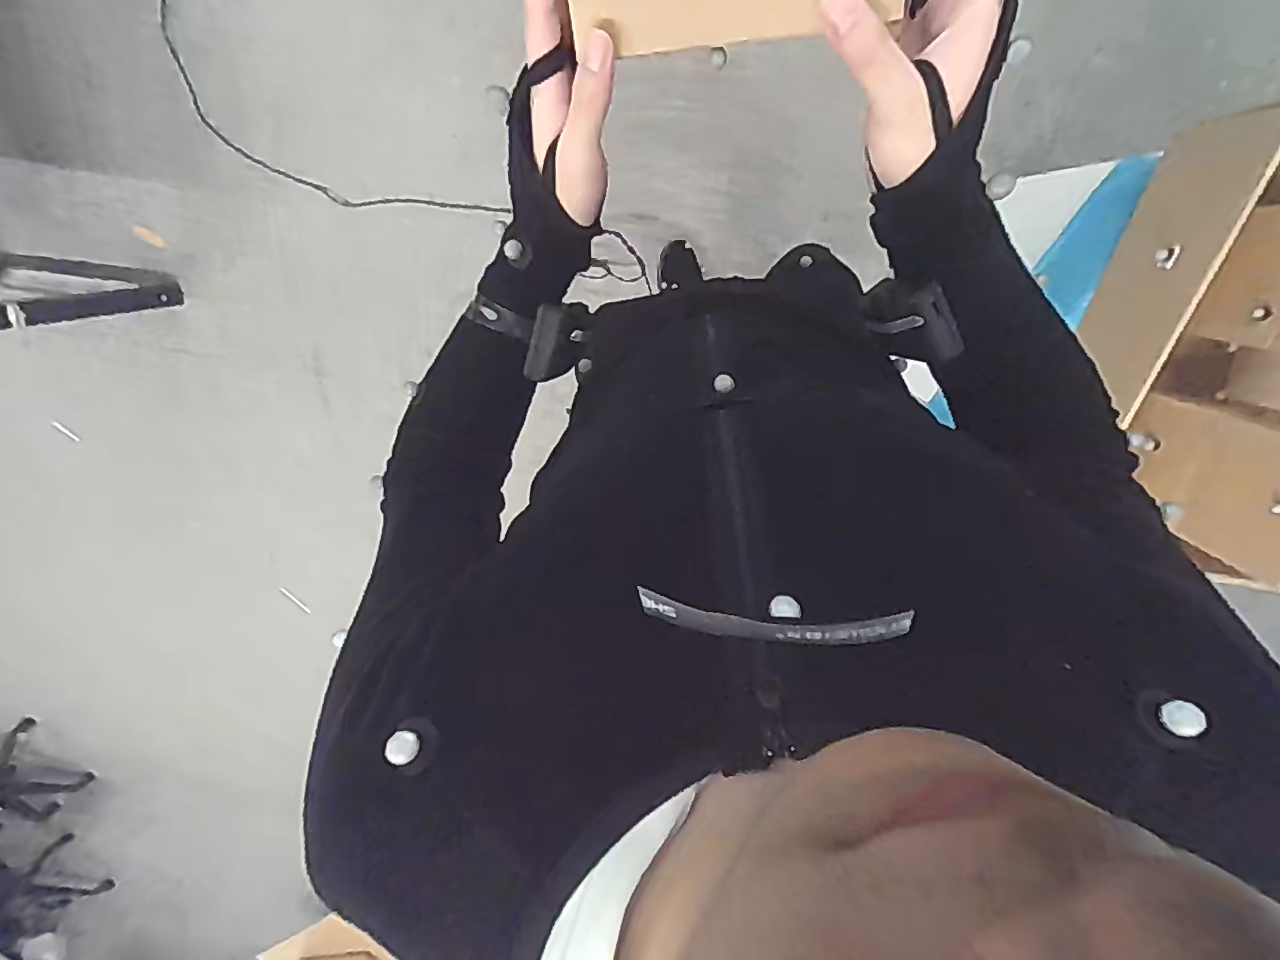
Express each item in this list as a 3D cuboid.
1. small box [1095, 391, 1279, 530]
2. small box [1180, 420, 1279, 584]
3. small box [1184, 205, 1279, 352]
[{"bbox_3d":[0.855,-0.029,0.821,0.168,0.176,0.179,7,112,0],"label":"small box"},{"bbox_3d":[0.848,0.034,0.670,0.168,0.176,0.179,6,114,1],"label":"small box"},{"bbox_3d":[0.905,-0.260,0.718,0.168,0.176,0.179,9,116,-1],"label":"small box"}]
